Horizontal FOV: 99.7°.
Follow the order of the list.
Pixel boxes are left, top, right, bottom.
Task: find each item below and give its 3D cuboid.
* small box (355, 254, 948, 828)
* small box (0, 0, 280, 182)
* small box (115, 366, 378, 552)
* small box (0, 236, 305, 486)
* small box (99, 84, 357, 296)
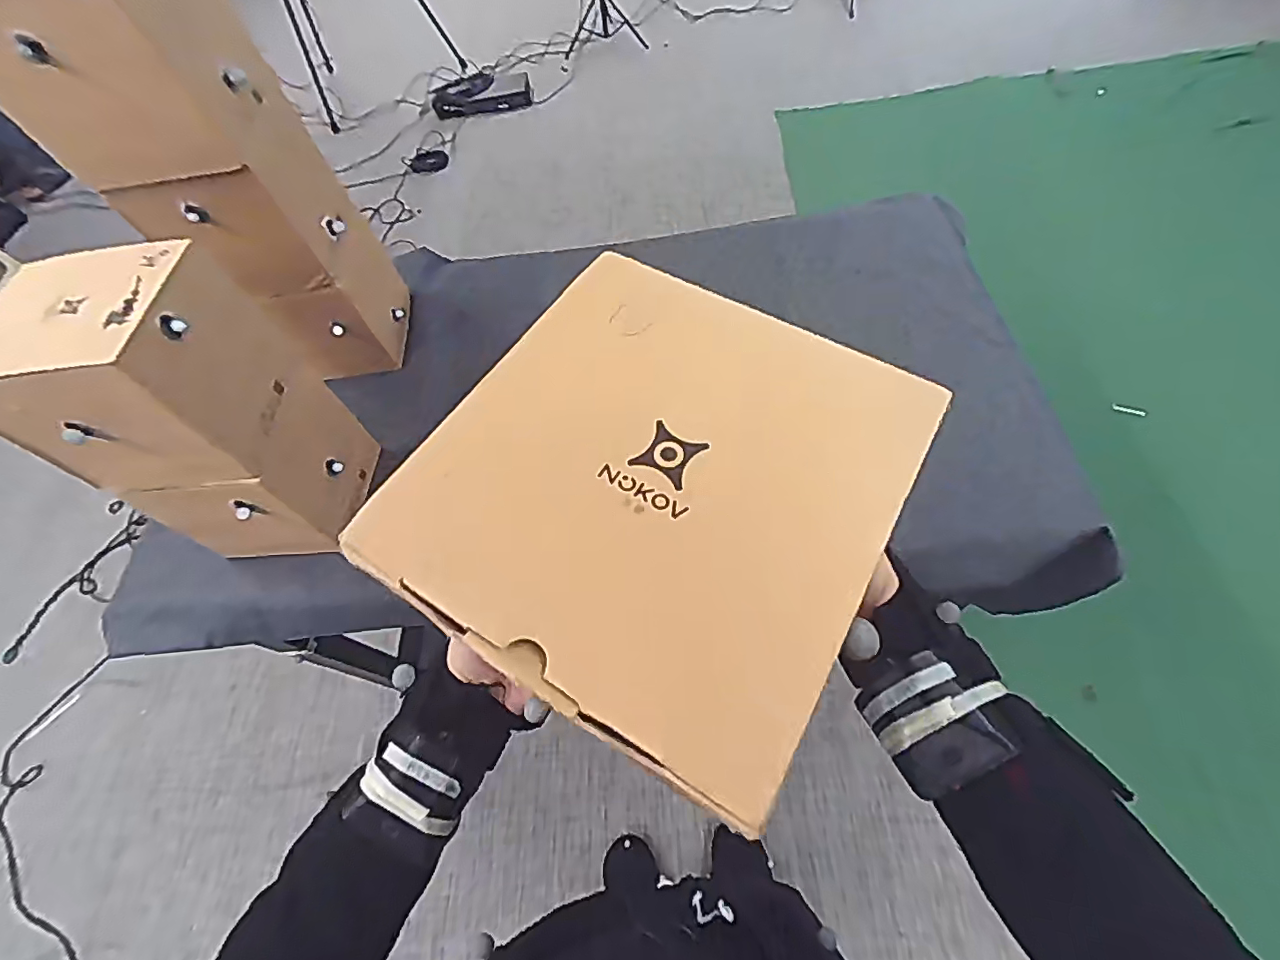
[{"bbox_3d":[0.012,0.032,0.272,0.168,0.176,0.179,28,66,15],"label":"small box"},{"bbox_3d":[-0.512,-0.426,0.538,0.179,0.176,0.168,-7,62,3],"label":"small box"},{"bbox_3d":[-0.462,-0.019,0.674,0.179,0.176,0.168,-4,57,6],"label":"small box"},{"bbox_3d":[-0.486,-0.107,0.538,0.179,0.176,0.168,-7,58,4],"label":"small box"},{"bbox_3d":[-0.498,-0.355,0.686,0.179,0.176,0.168,-8,62,2],"label":"small box"}]
